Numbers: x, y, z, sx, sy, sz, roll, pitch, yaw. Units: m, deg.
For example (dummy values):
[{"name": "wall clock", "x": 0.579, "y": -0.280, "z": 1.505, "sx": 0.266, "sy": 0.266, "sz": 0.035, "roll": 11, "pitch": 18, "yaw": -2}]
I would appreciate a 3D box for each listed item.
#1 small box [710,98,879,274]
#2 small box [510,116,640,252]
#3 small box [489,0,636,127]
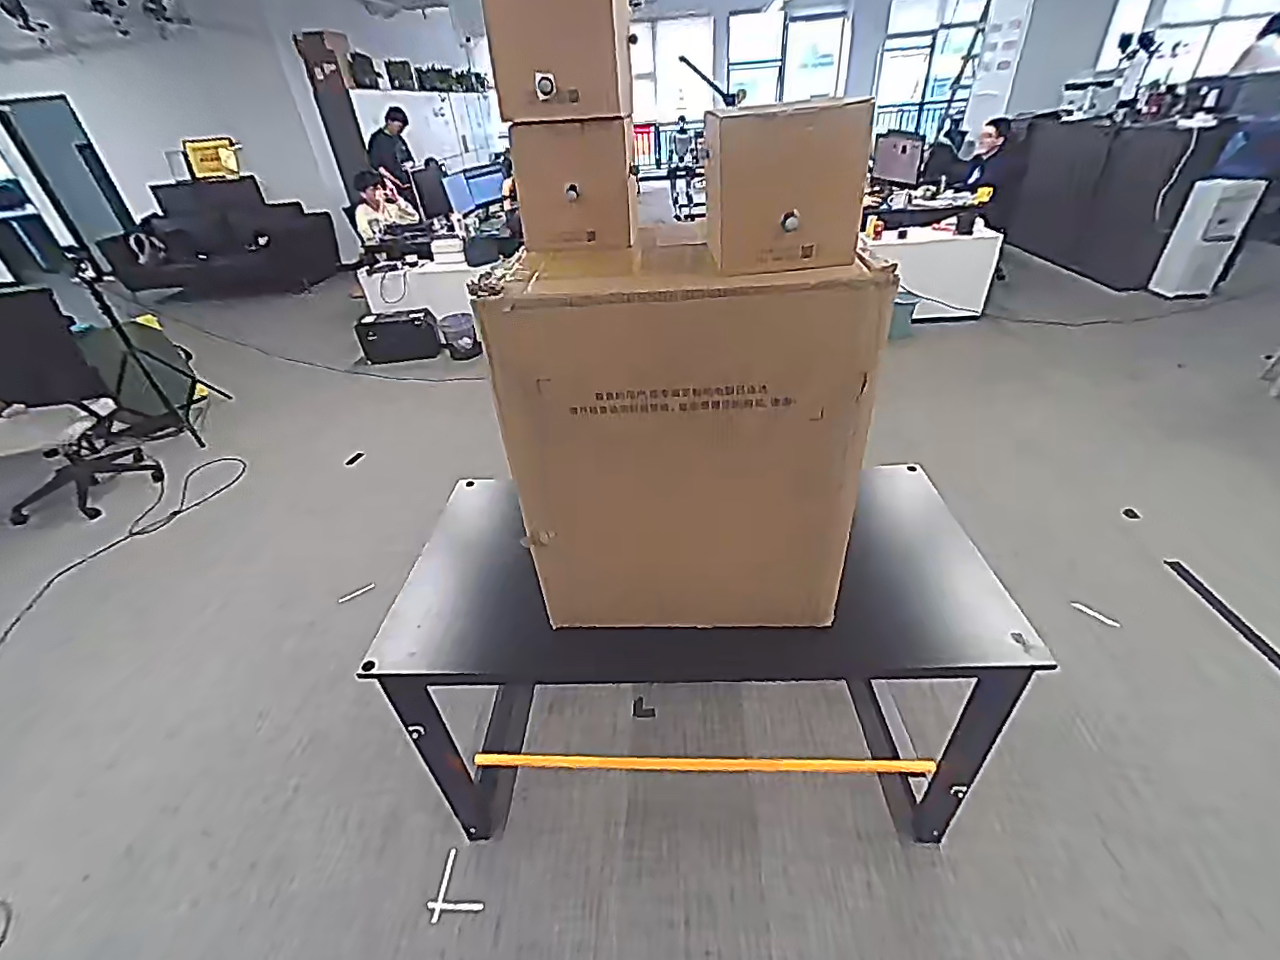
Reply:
[{"name": "small box", "x": 0.177, "y": -0.371, "z": 0.683, "sx": 0.168, "sy": 0.176, "sz": 0.179, "roll": -5, "pitch": 36, "yaw": 3}, {"name": "small box", "x": -0.089, "y": -0.461, "z": 0.844, "sx": 0.168, "sy": 0.176, "sz": 0.179, "roll": -1, "pitch": 35, "yaw": 4}, {"name": "small box", "x": -0.096, "y": -0.586, "z": 0.738, "sx": 0.168, "sy": 0.176, "sz": 0.179, "roll": -1, "pitch": 35, "yaw": 6}]
